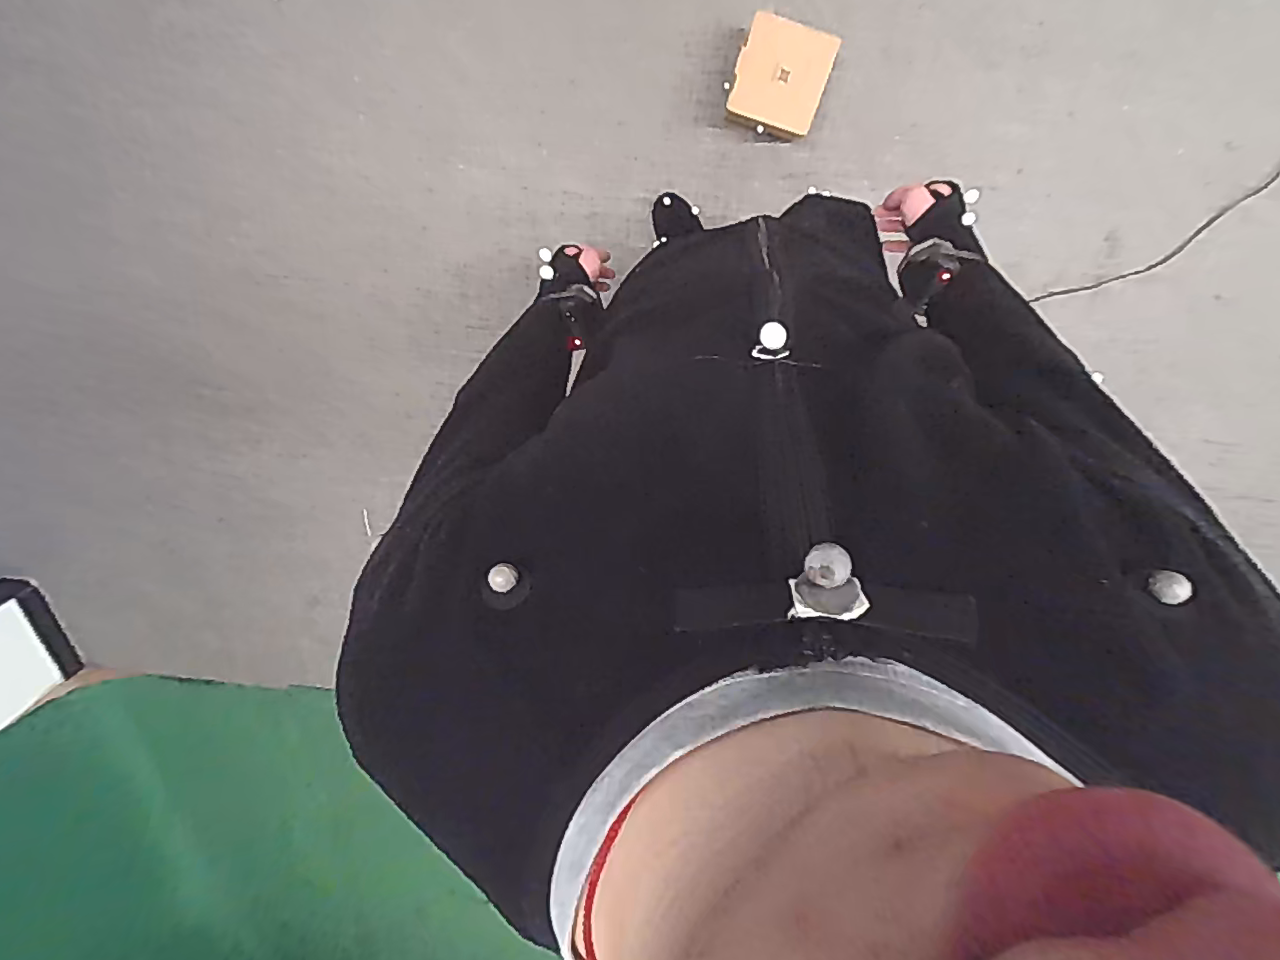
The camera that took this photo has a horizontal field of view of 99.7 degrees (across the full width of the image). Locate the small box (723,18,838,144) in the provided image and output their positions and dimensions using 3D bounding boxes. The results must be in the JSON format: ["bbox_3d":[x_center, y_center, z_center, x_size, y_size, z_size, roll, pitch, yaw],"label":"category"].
[{"bbox_3d":[0.284,-0.827,1.141,0.179,0.176,0.168,16,120,-4],"label":"small box"}]
